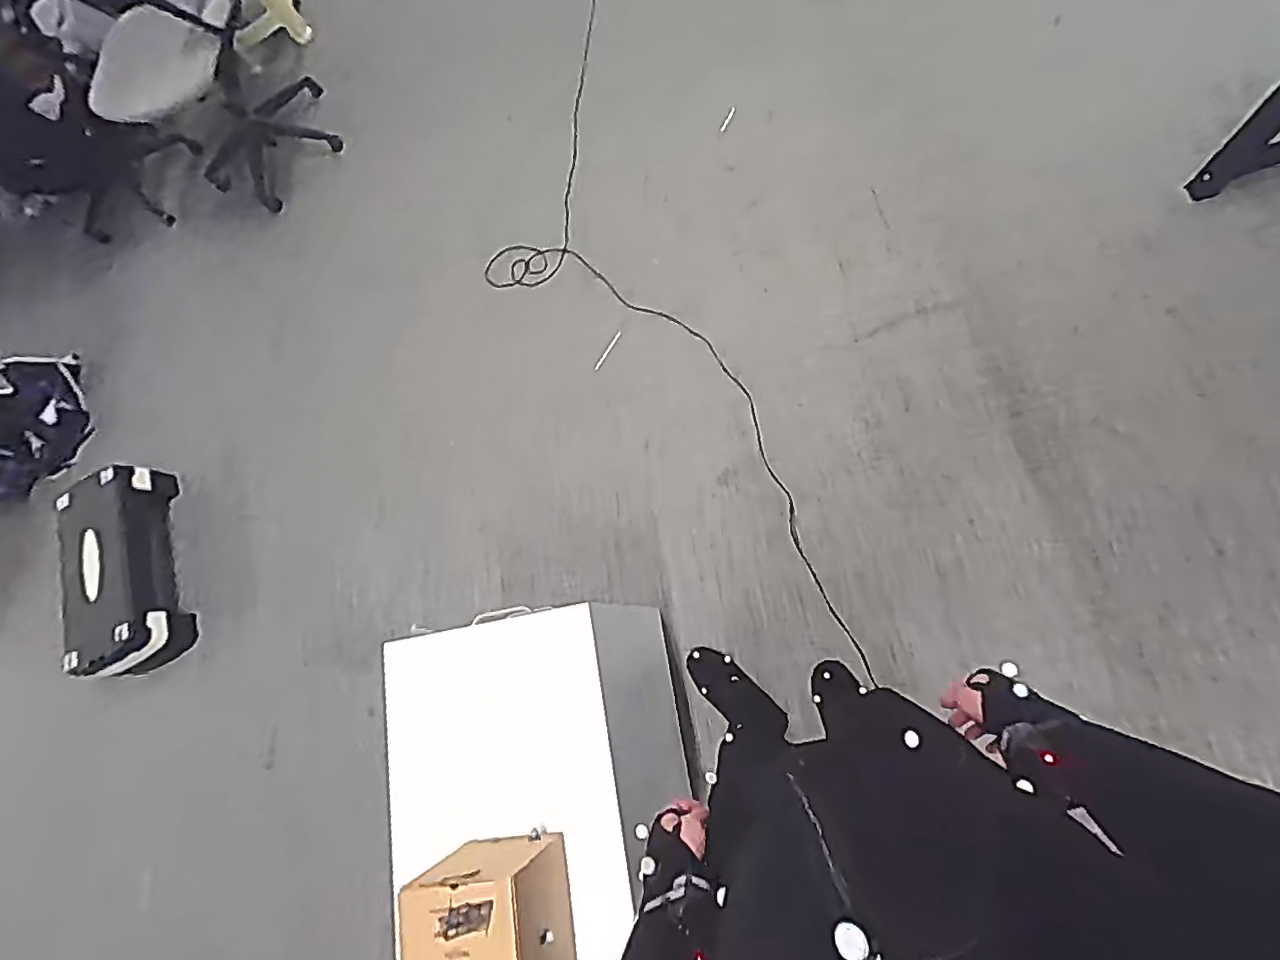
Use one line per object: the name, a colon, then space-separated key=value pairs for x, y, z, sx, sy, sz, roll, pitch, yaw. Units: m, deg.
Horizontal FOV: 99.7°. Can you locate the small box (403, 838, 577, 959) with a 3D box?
small box: x=-0.198 y=0.617 z=0.740 sx=0.168 sy=0.176 sz=0.179 roll=-14 pitch=73 yaw=12
